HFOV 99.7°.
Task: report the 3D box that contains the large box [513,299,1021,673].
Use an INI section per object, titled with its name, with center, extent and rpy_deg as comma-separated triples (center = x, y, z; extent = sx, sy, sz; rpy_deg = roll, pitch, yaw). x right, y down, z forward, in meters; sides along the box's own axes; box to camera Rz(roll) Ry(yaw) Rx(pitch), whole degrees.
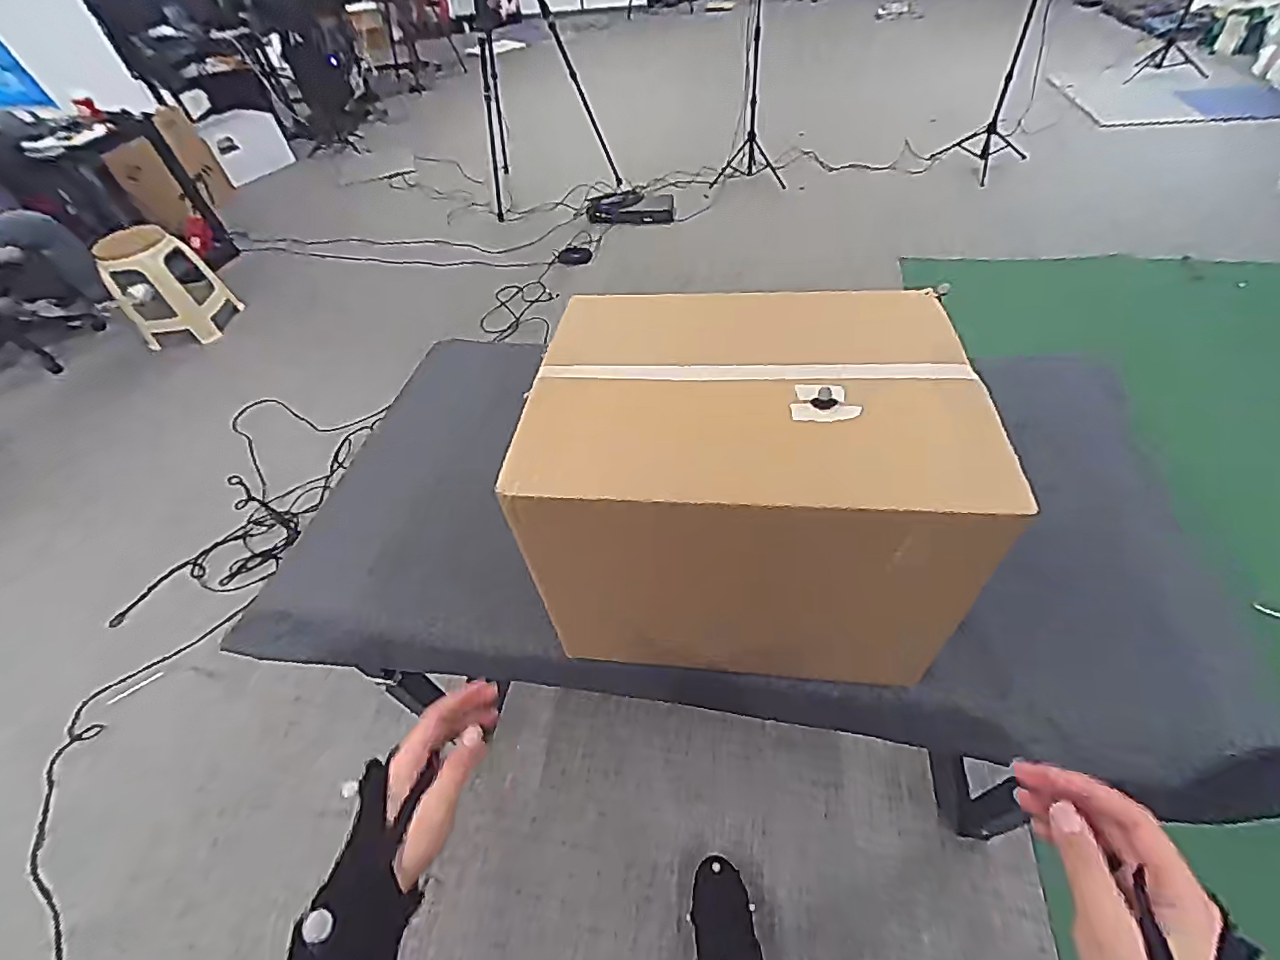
[large box]
center = 0.113, 0.006, 0.631
extent = 0.408, 0.320, 0.320
rpy_deg = 3, 49, 7
